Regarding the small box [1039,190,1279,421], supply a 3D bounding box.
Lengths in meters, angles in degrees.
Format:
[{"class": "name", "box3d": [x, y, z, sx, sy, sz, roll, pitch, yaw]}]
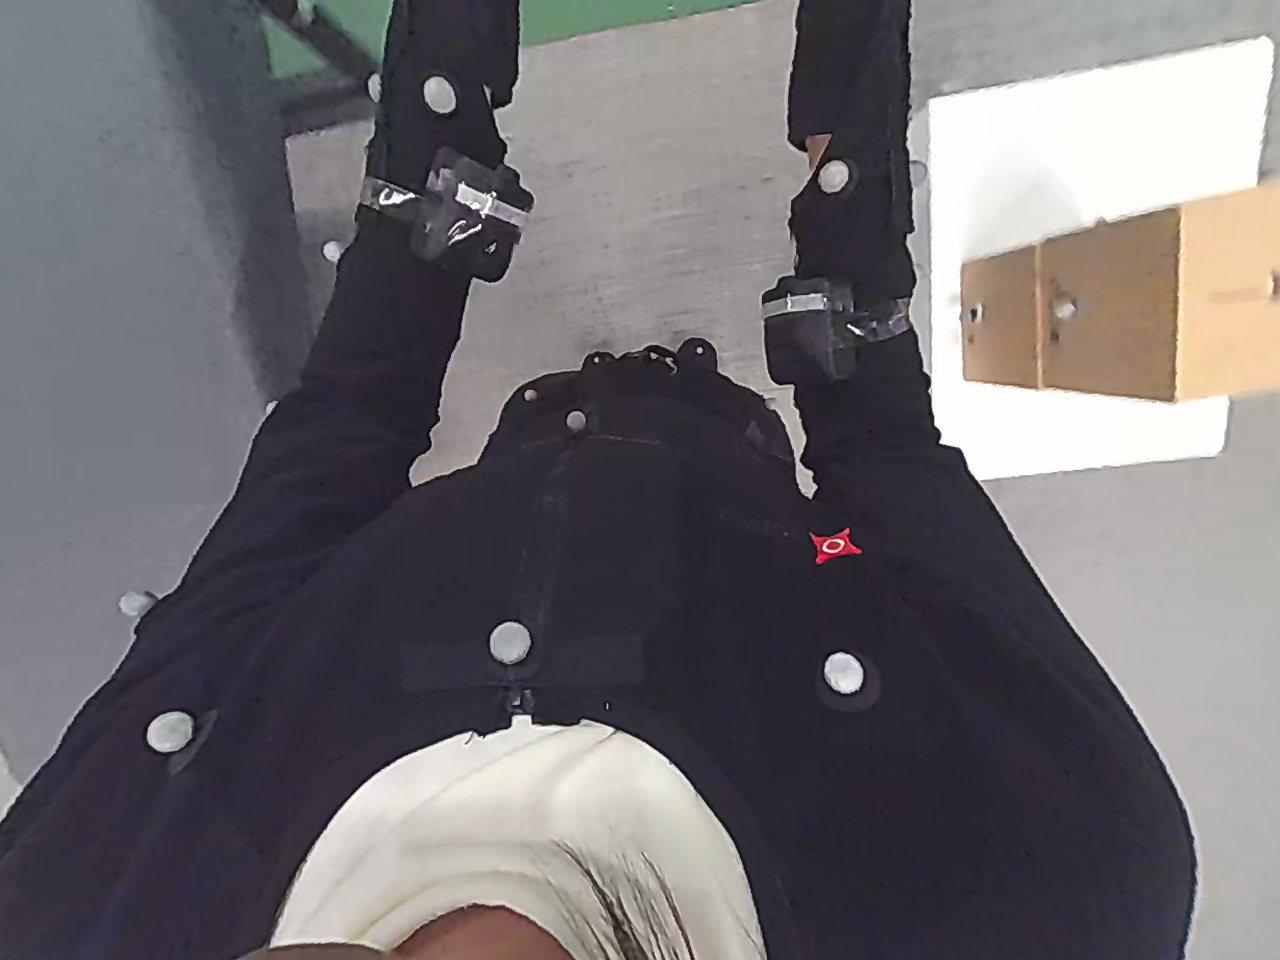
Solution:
[{"class": "small box", "box3d": [0.513, -0.162, 0.495, 0.179, 0.176, 0.168, -12, 103, 6]}]

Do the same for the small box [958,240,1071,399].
[{"class": "small box", "box3d": [0.518, -0.200, 0.655, 0.179, 0.176, 0.168, -9, 103, 7]}]
